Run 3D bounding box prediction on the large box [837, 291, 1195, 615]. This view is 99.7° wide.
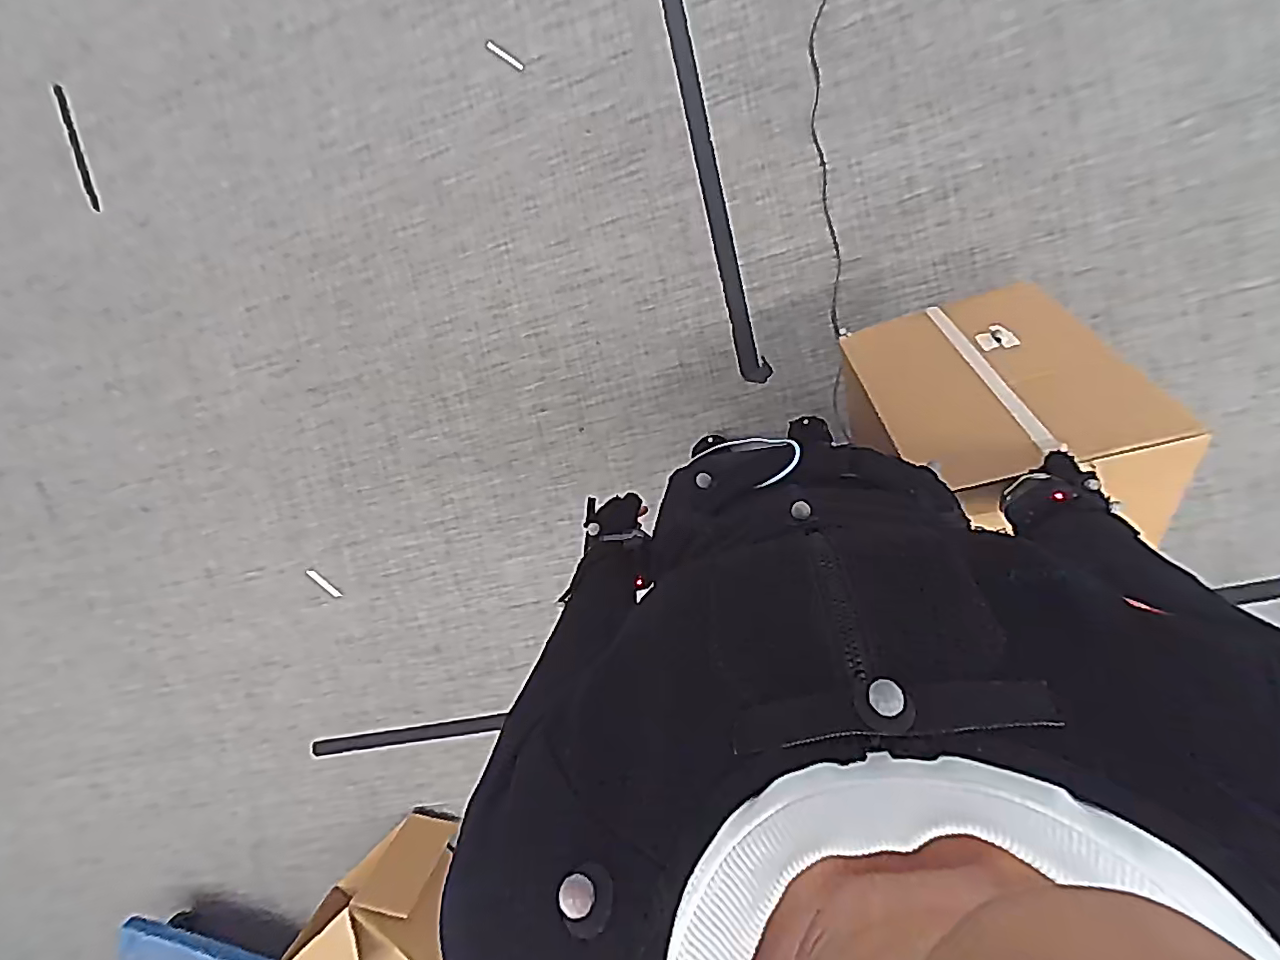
[{"bbox_3d":[0.558,-0.048,0.906,0.320,0.408,0.320,-14,132,11],"label":"large box"}]
